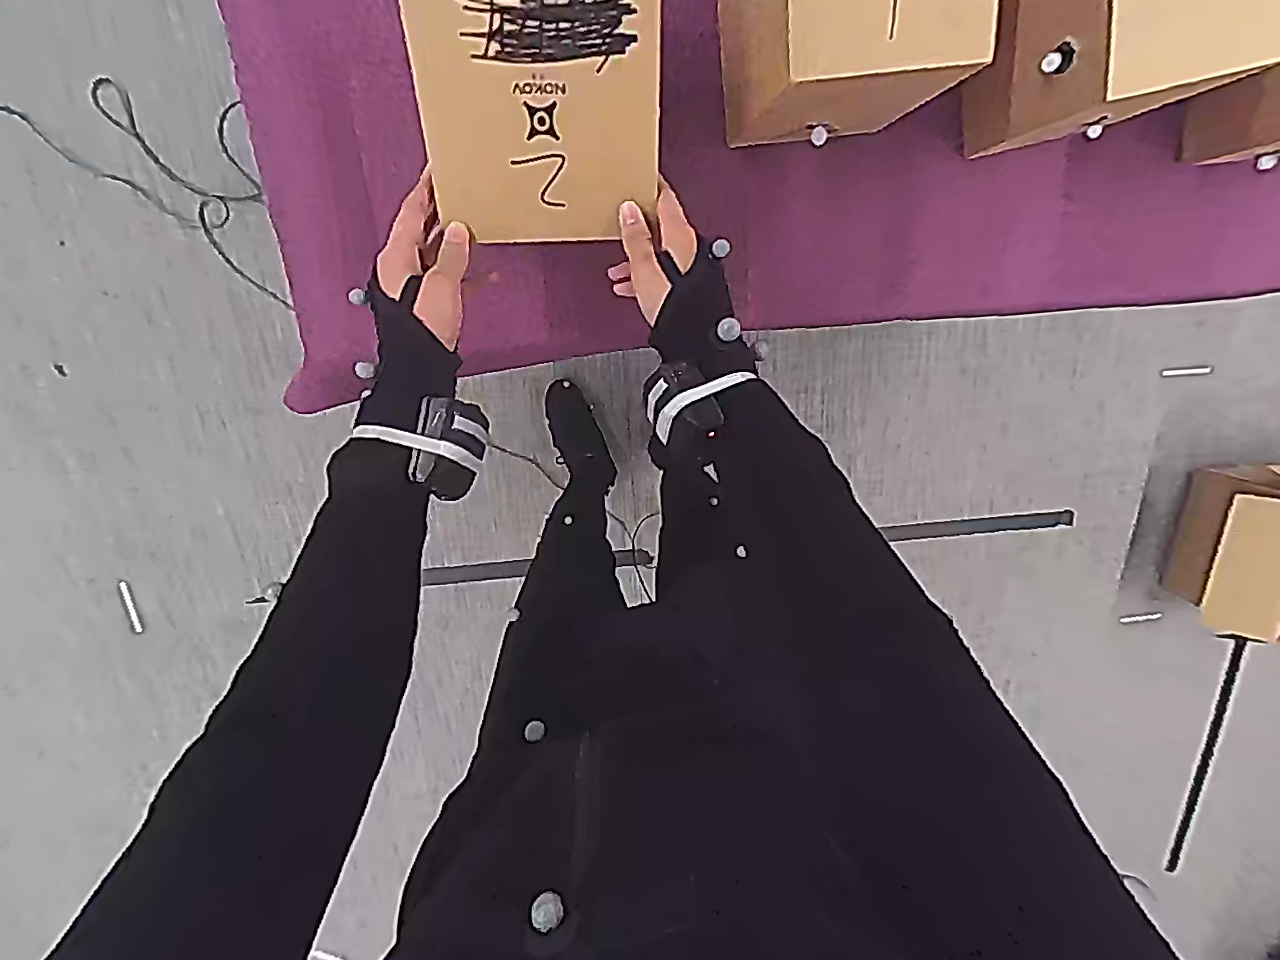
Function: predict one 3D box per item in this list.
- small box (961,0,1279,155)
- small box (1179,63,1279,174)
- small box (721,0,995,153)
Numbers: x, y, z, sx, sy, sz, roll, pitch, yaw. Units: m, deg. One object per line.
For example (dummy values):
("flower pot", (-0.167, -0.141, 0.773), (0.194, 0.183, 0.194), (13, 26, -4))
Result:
("small box", (0.424, -0.423, 0.496), (0.168, 0.176, 0.179), (-14, 107, -4))
("small box", (0.694, -0.426, 0.531), (0.168, 0.176, 0.179), (-8, 106, -4))
("small box", (0.172, -0.411, 0.467), (0.168, 0.176, 0.179), (-9, 108, -5))
